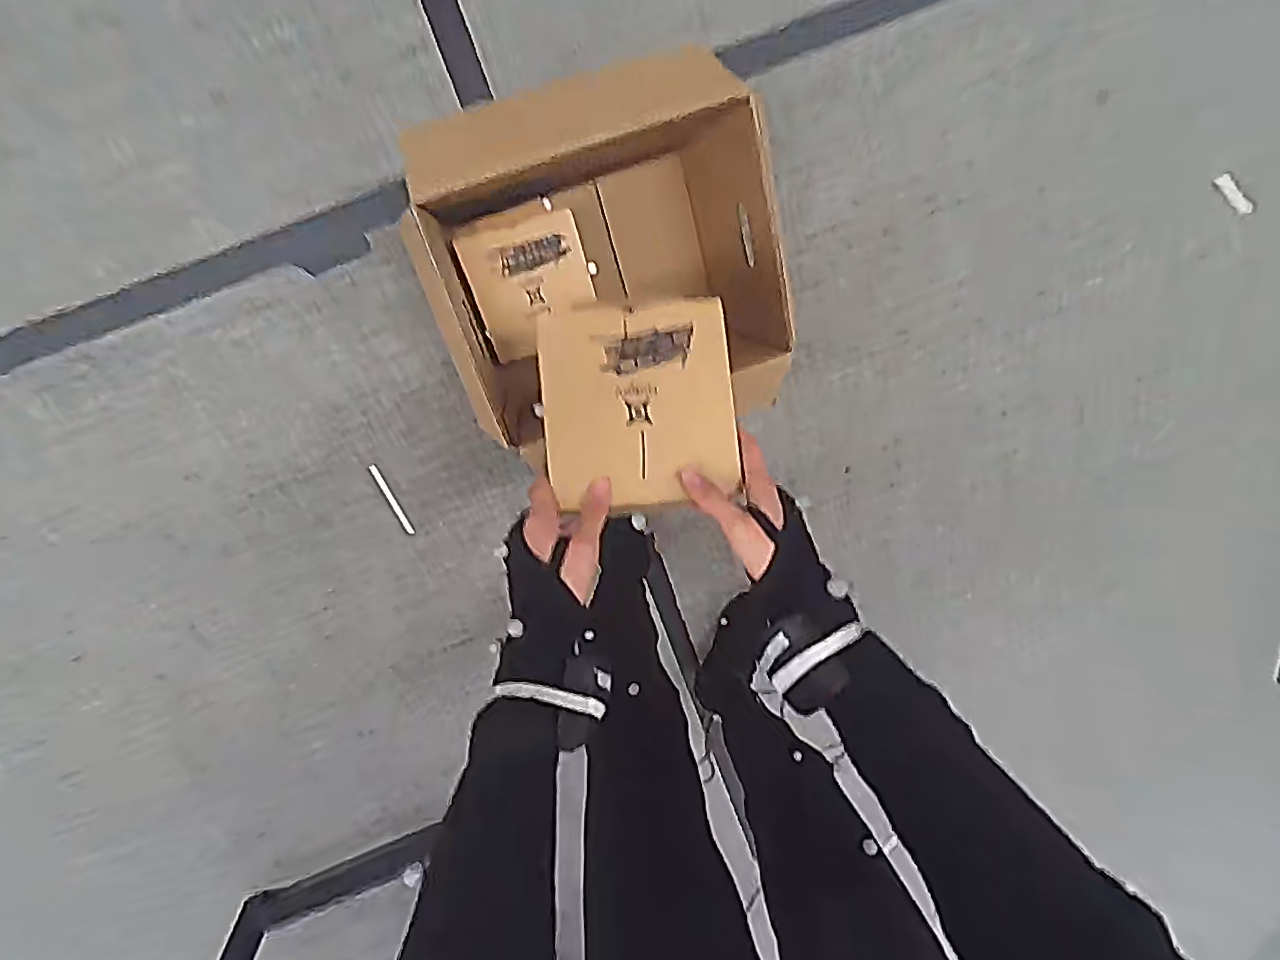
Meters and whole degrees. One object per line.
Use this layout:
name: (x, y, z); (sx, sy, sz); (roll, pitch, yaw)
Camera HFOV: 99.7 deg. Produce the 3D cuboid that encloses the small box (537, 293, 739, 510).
small box: (-0.007, -0.066, 0.547); (0.168, 0.176, 0.179); (-6, 85, -2)
